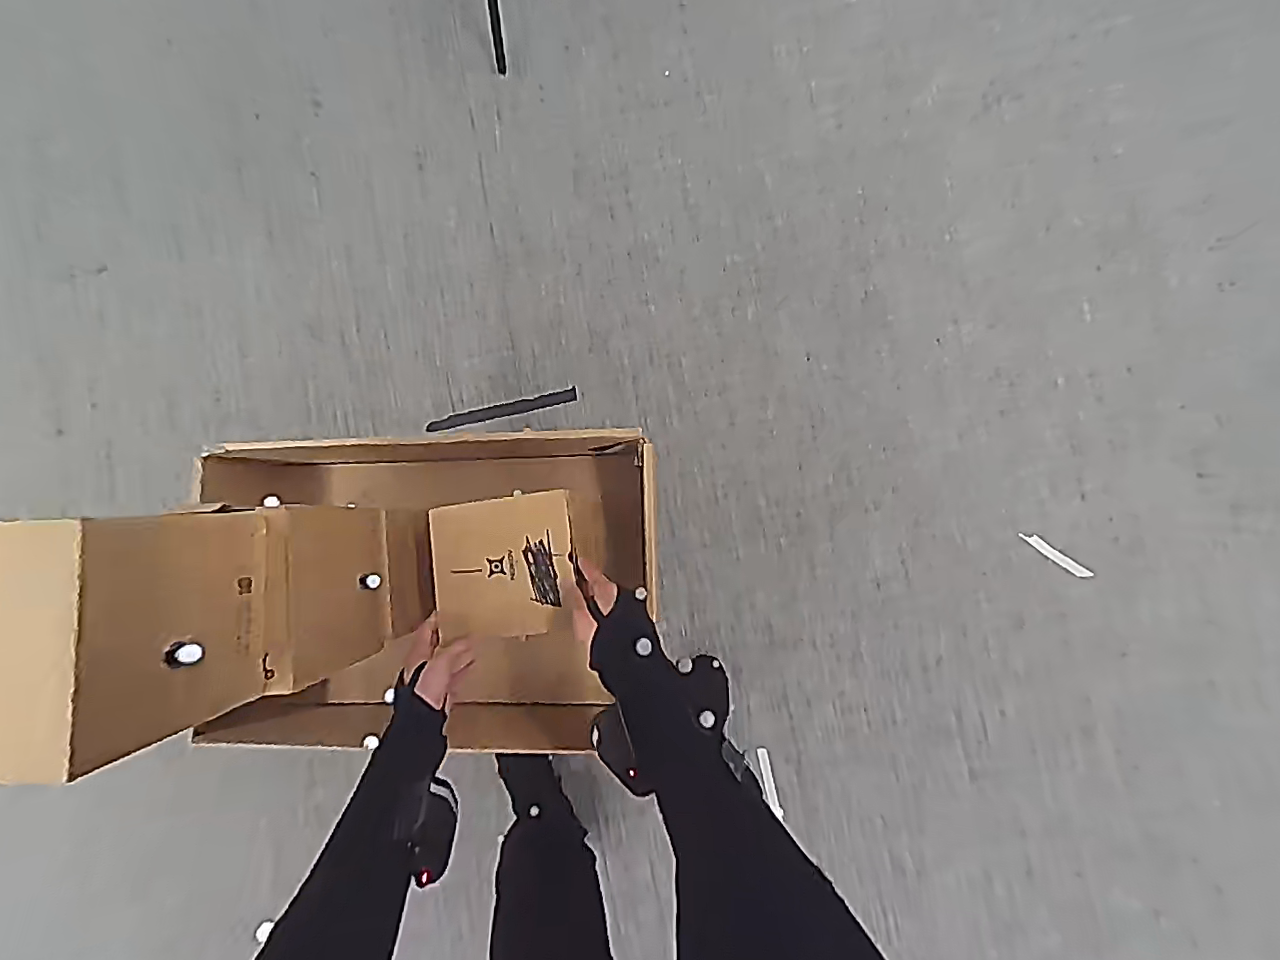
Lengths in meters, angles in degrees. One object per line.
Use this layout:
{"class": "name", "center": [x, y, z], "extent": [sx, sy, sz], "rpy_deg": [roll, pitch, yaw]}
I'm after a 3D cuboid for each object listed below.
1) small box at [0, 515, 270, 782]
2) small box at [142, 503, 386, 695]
{"class": "small box", "center": [-0.429, 0.111, 0.424], "extent": [0.179, 0.176, 0.168], "rpy_deg": [-1, 86, 3]}
{"class": "small box", "center": [-0.396, 0.121, 0.585], "extent": [0.168, 0.176, 0.179], "rpy_deg": [-4, 85, 3]}
